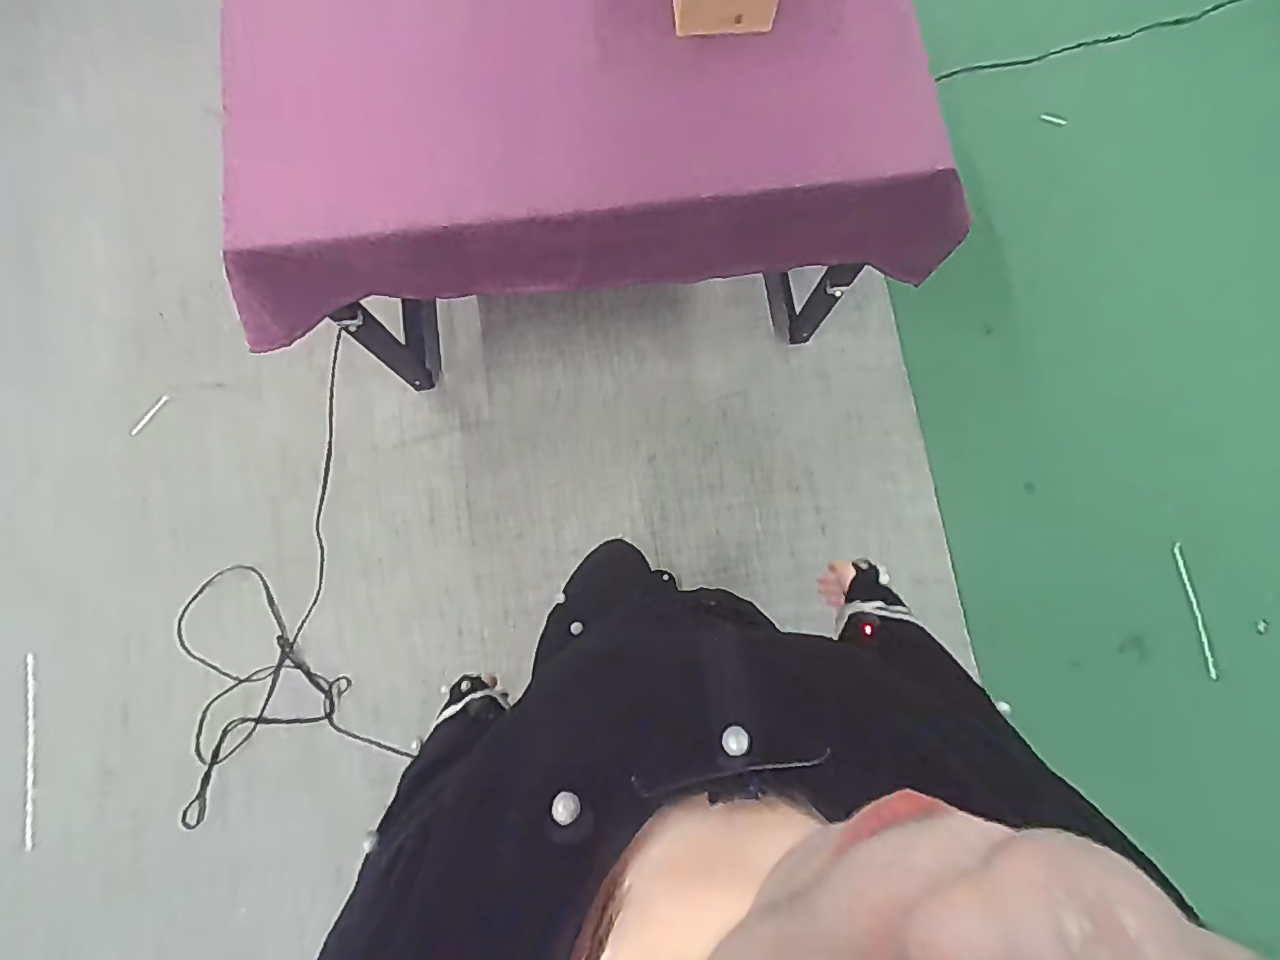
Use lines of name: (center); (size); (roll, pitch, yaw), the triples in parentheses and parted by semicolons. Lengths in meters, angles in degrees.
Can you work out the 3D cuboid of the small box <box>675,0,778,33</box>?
small box: (0.144, -0.872, 0.878); (0.168, 0.176, 0.179); (-4, 80, -1)
